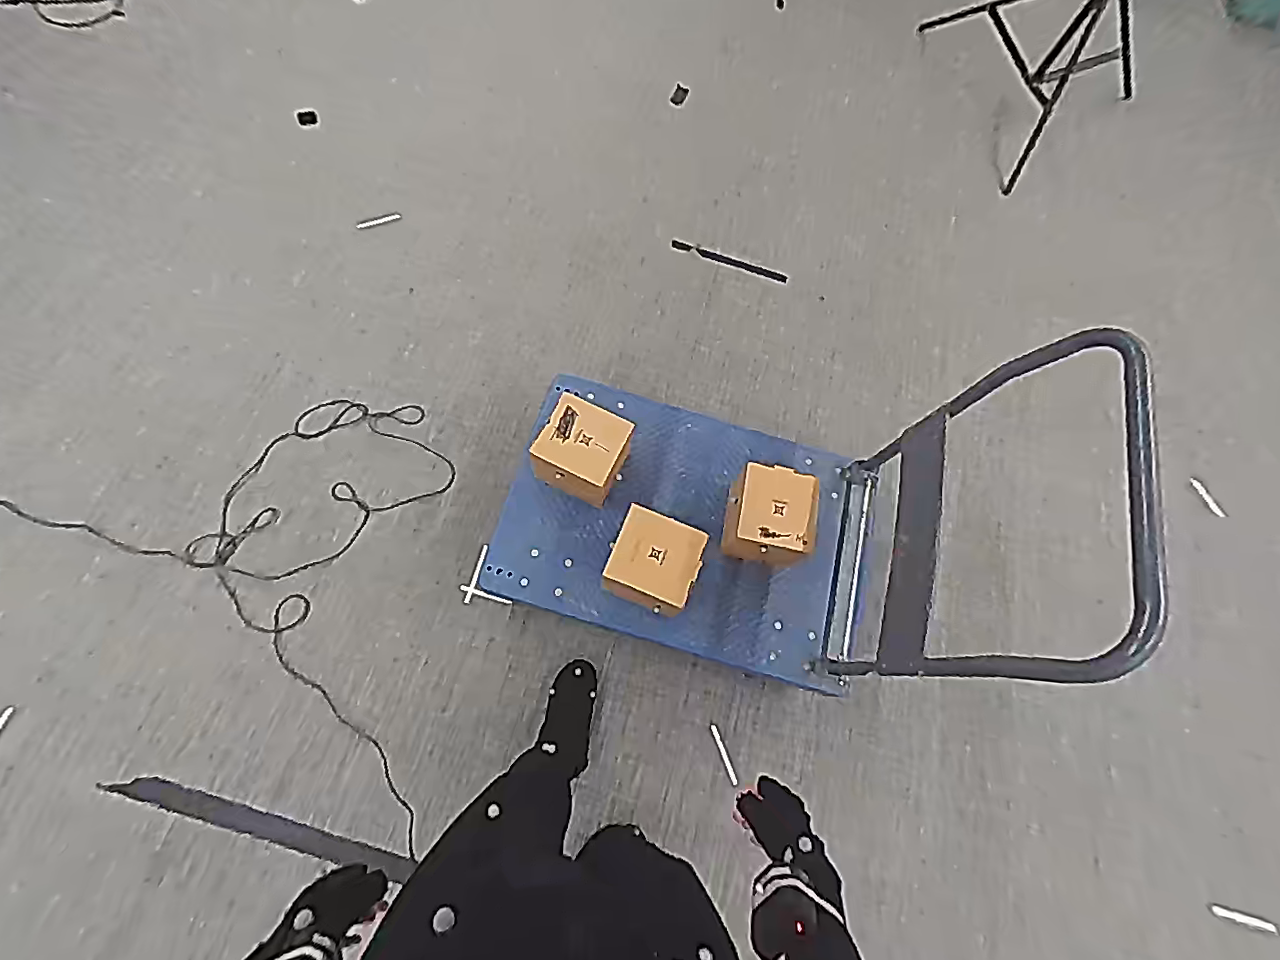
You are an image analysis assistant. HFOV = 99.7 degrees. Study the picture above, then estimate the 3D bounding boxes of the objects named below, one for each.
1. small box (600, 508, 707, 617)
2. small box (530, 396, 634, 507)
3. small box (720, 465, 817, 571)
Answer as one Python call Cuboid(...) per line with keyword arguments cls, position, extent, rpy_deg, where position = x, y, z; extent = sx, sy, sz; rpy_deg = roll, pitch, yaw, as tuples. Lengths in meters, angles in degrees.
Cuboid(cls="small box", position=(0.024, 0.186, 1.171), extent=(0.179, 0.176, 0.168), rpy_deg=(22, 68, 4))
Cuboid(cls="small box", position=(-0.132, -0.057, 1.240), extent=(0.179, 0.176, 0.168), rpy_deg=(26, 70, 3))
Cuboid(cls="small box", position=(0.287, 0.092, 1.229), extent=(0.168, 0.176, 0.179), rpy_deg=(13, 69, 0))
